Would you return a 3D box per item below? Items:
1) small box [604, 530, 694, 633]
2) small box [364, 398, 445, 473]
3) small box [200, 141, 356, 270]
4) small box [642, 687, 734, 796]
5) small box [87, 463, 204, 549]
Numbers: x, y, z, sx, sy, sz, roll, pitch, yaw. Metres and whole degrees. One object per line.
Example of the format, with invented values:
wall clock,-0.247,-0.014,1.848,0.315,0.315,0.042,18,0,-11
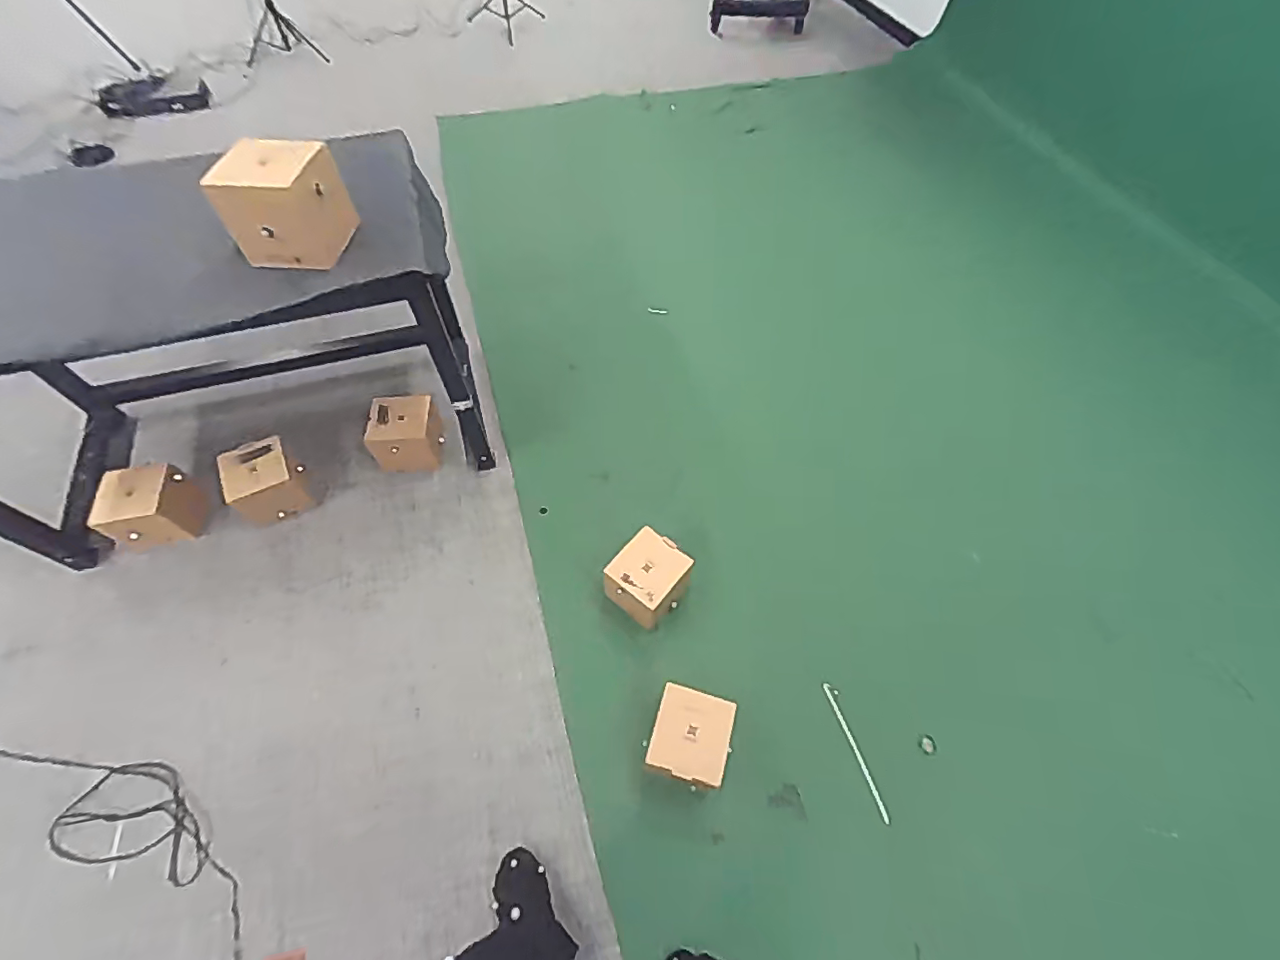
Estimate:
small box,0.019,0.273,1.438,0.168,0.176,0.179,36,63,19
small box,-0.722,-0.134,1.674,0.179,0.176,0.168,-3,58,-5
small box,-0.692,-0.534,1.062,0.168,0.176,0.179,3,55,0
small box,0.106,0.601,1.232,0.168,0.176,0.179,16,58,7
small box,-1.378,0.081,1.524,0.168,0.176,0.179,-11,58,-8
